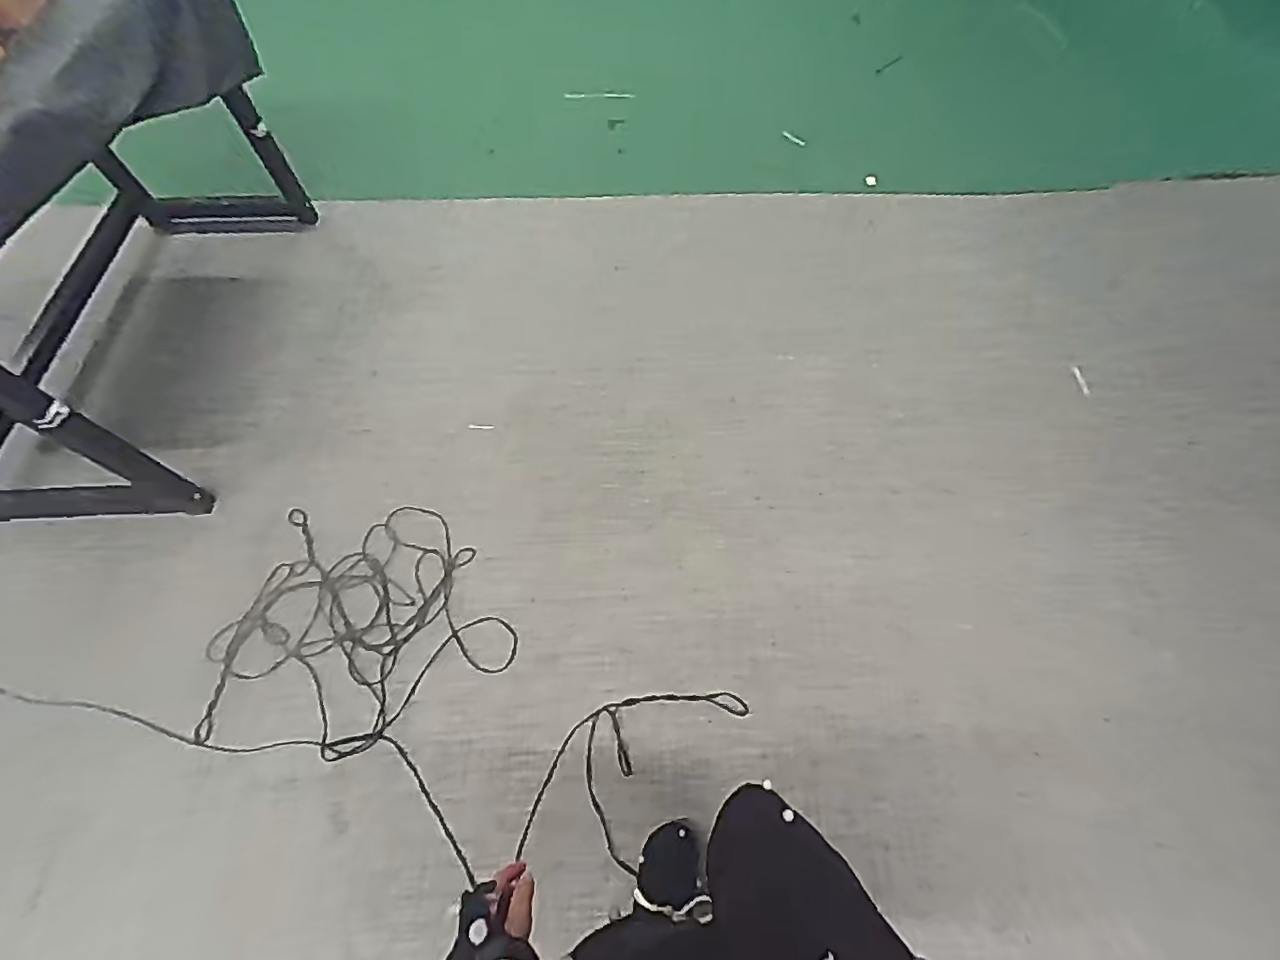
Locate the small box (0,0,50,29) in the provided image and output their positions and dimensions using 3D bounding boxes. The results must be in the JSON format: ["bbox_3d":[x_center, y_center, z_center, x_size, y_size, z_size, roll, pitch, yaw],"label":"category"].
[{"bbox_3d":[-1.339,-1.018,1.061,0.179,0.176,0.168,-5,61,-2],"label":"small box"}]
